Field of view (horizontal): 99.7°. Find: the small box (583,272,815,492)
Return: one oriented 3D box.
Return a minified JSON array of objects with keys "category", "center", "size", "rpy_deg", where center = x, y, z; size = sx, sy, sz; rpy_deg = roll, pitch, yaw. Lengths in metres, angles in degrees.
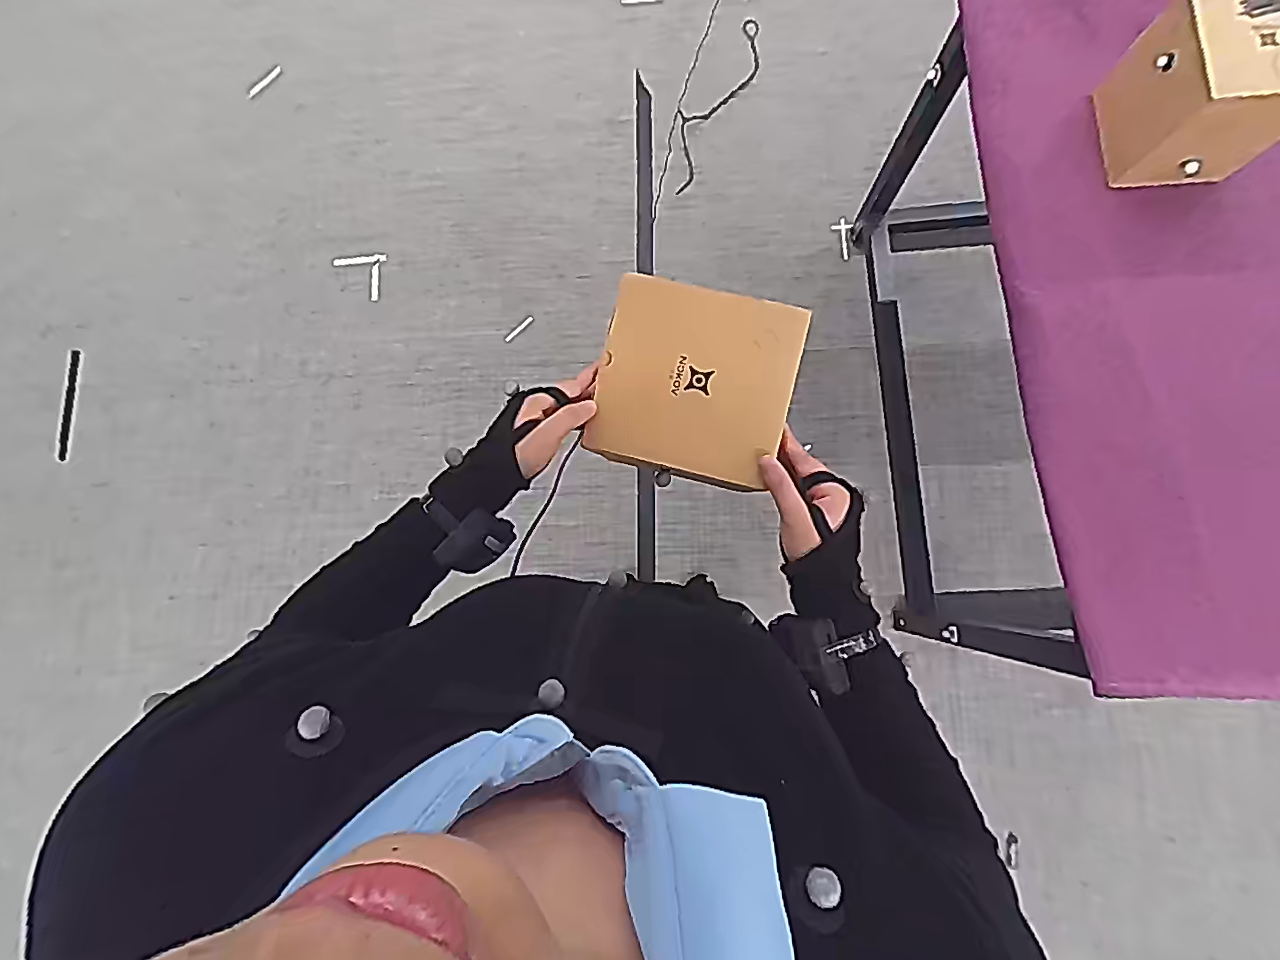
[{"category":"small box","center":[0.058,-0.088,0.561],"size":[0.179,0.176,0.168],"rpy_deg":[14,90,6]}]

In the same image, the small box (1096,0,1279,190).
[{"category":"small box","center":[0.800,-0.549,0.770],"size":[0.168,0.176,0.179],"rpy_deg":[-2,81,4]}]

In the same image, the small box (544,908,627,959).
[{"category":"small box","center":[-0.121,1.121,1.240],"size":[0.168,0.176,0.179],"rpy_deg":[-5,81,3]}]
